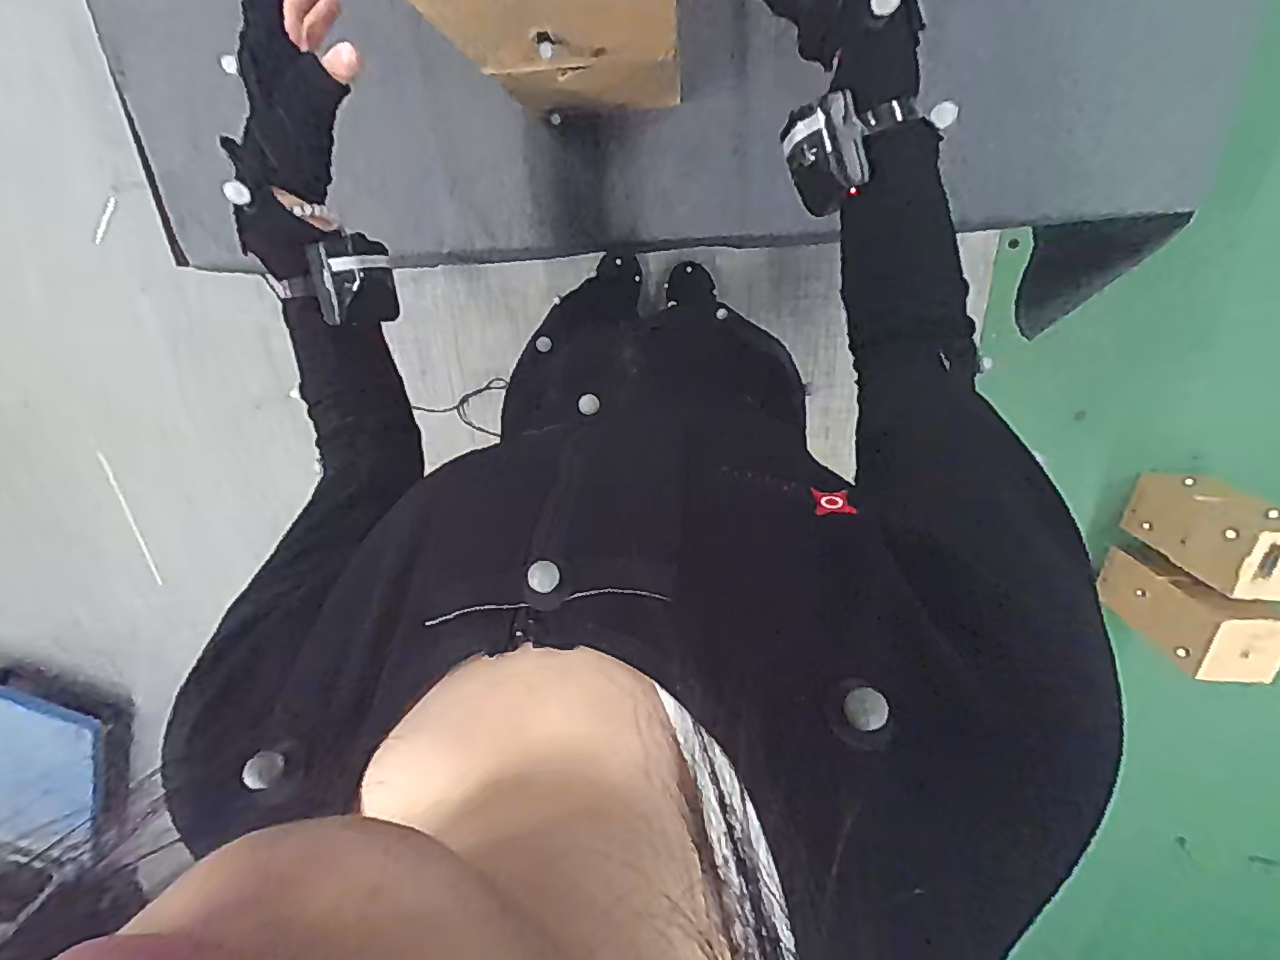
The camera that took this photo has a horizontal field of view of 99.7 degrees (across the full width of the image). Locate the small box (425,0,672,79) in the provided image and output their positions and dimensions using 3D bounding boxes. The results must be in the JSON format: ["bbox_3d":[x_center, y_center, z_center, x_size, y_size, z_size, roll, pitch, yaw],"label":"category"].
[{"bbox_3d":[-0.064,-0.395,0.349,0.168,0.176,0.179,-1,112,5],"label":"small box"}]

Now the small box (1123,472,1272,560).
[{"bbox_3d":[1.398,0.085,1.374,0.179,0.176,0.168,4,112,4],"label":"small box"}]

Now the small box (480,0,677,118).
[{"bbox_3d":[-0.052,-0.455,0.499,0.168,0.176,0.179,-2,111,5],"label":"small box"}]
